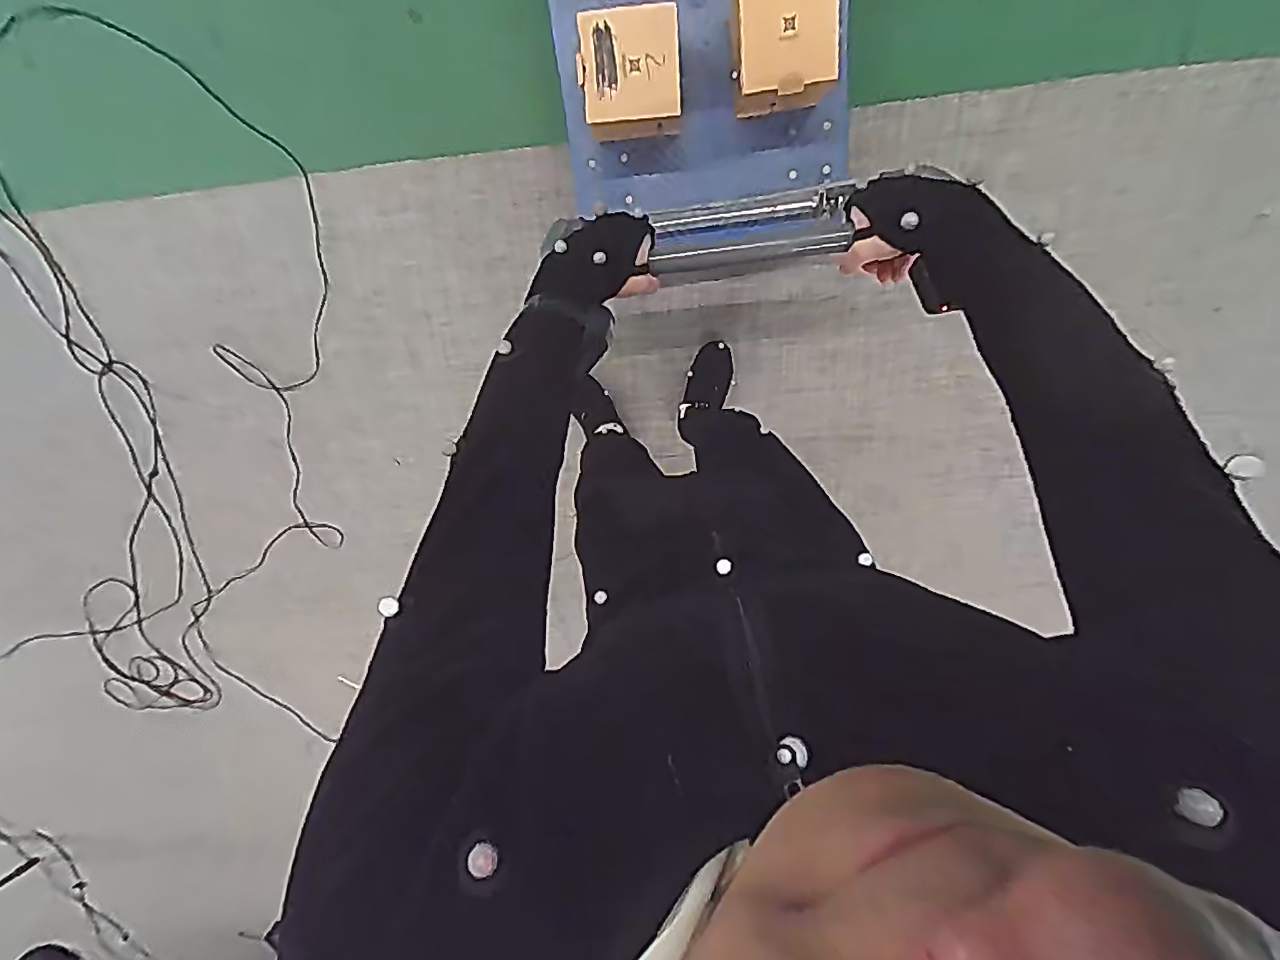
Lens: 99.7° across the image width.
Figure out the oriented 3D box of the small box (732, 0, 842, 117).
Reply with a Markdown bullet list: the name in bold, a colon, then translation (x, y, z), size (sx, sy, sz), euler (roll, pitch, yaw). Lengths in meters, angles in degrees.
- **small box**: translation (0.262, -0.797, 0.991), size (0.168, 0.176, 0.179), euler (-5, 113, 6)
